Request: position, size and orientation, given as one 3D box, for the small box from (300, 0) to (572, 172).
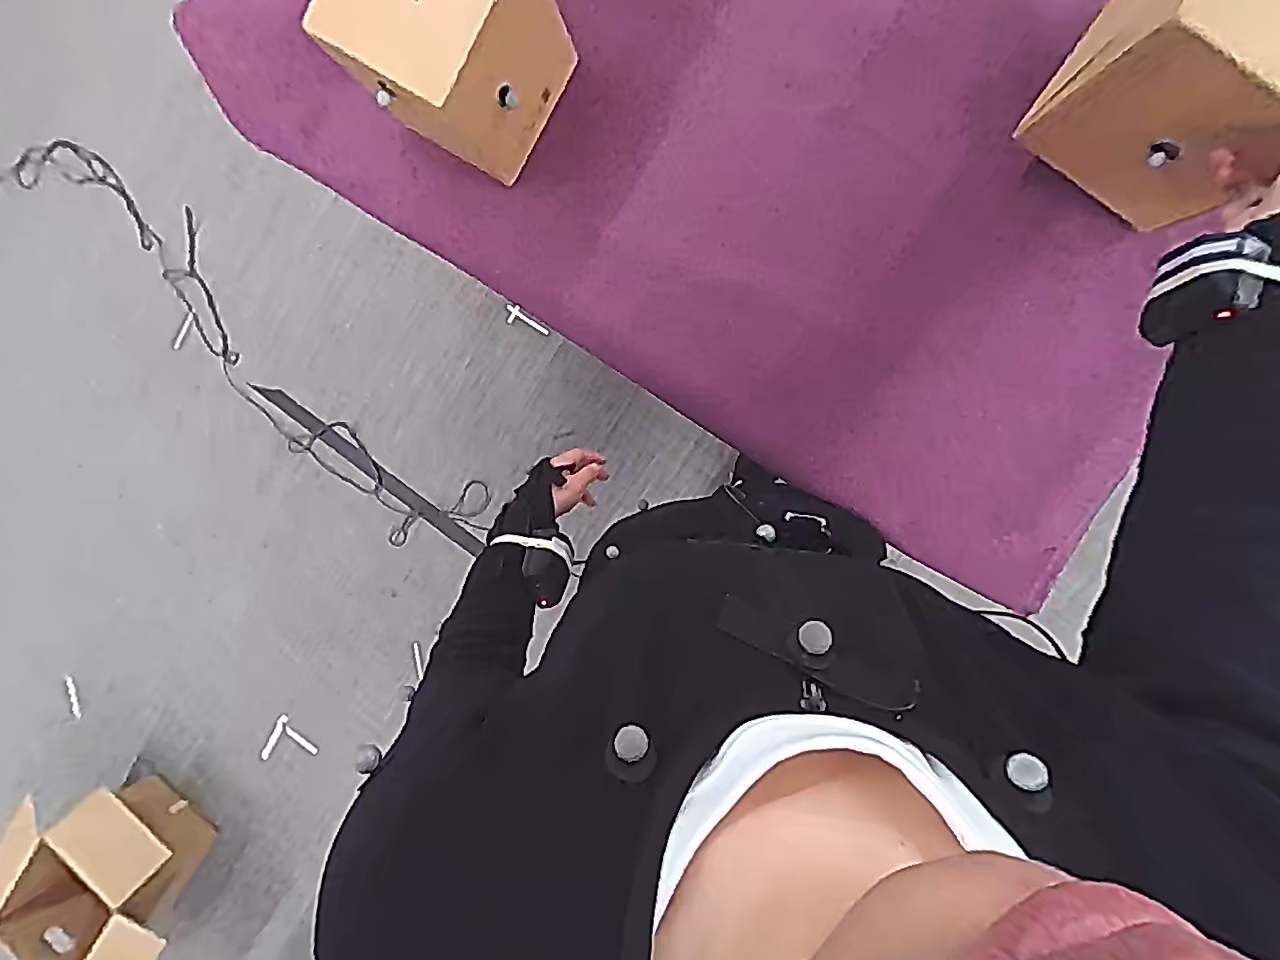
[{"bbox_3d":[-0.197,-0.464,0.570,0.179,0.176,0.168,33,100,6],"label":"small box"}]
